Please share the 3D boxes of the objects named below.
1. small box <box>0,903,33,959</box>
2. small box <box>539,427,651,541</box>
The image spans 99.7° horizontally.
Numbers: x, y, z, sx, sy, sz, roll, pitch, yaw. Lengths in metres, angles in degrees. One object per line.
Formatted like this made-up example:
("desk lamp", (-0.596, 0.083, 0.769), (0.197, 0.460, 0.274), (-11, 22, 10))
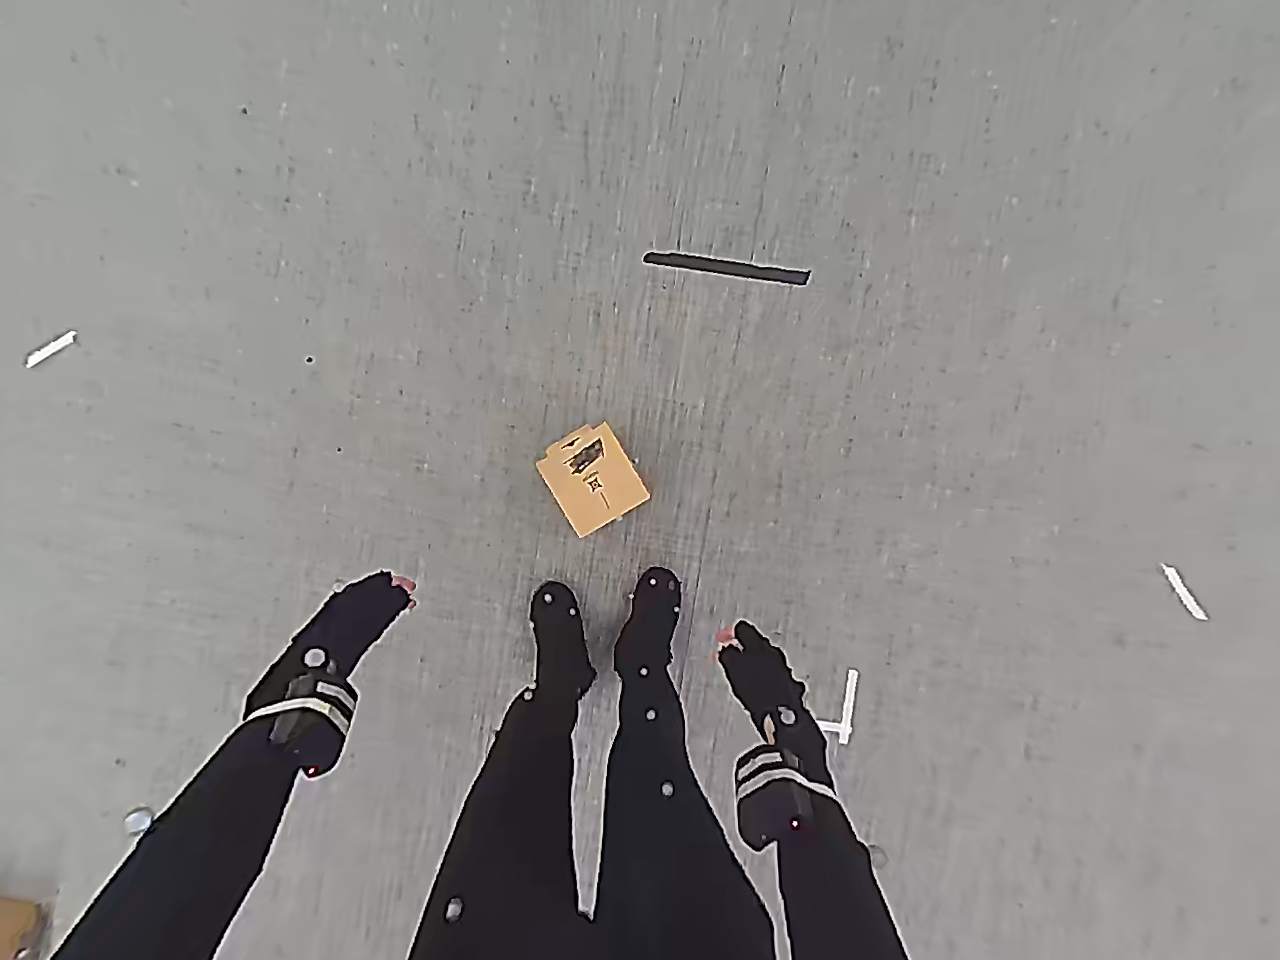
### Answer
("small box", (-1.520, 1.066, 1.187), (0.179, 0.176, 0.168), (9, 93, -1))
("small box", (-0.089, 0.006, 1.138), (0.168, 0.176, 0.179), (-30, 93, 2))
